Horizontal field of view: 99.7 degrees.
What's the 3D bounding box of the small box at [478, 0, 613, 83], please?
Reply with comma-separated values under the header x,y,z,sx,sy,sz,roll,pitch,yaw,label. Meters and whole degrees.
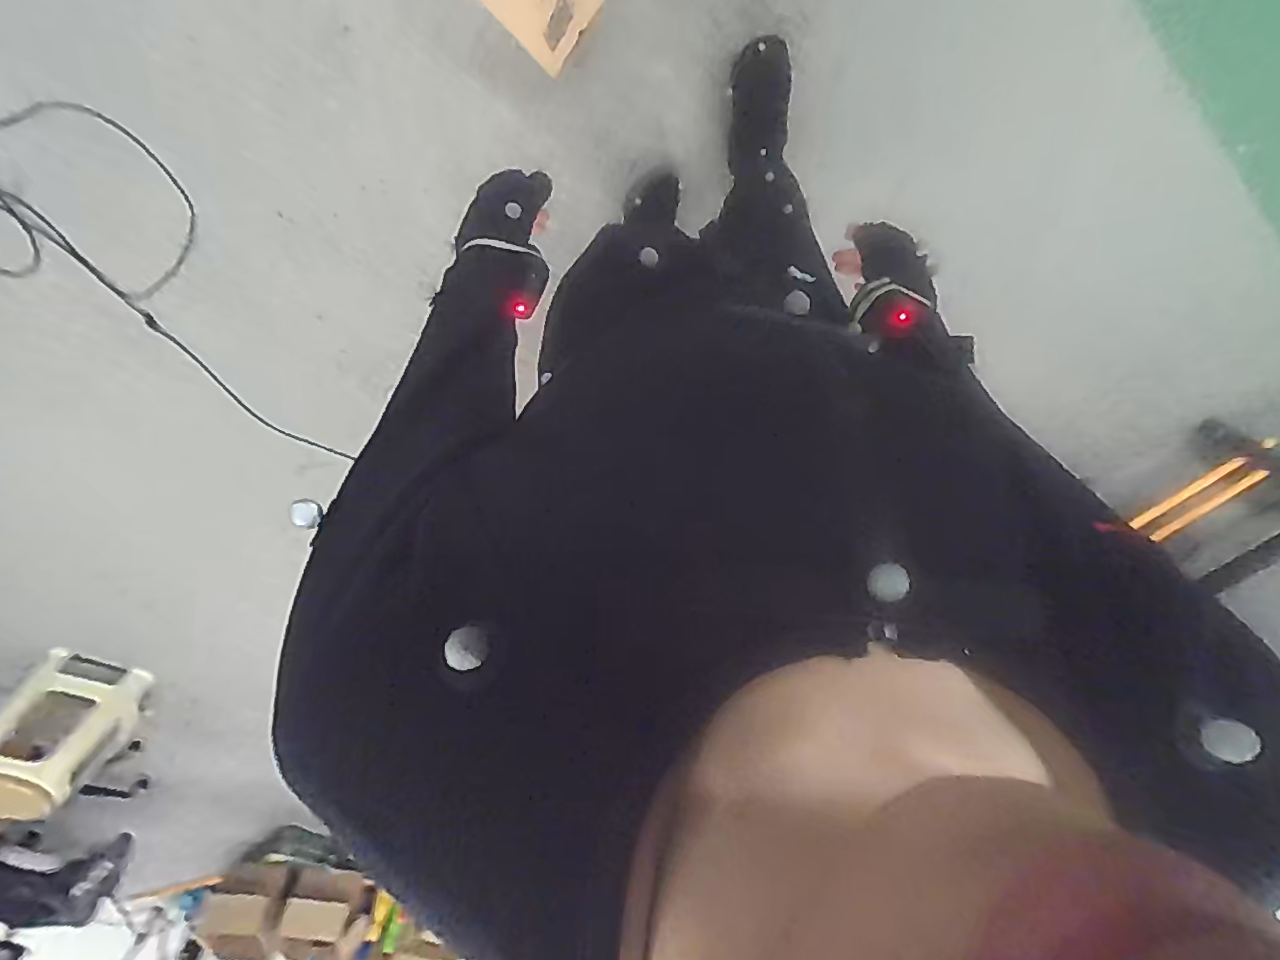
x,y,z,sx,sy,sz,roll,pitch,yaw,label
-0.160,-0.856,0.969,0.179,0.176,0.168,37,116,-23,small box
